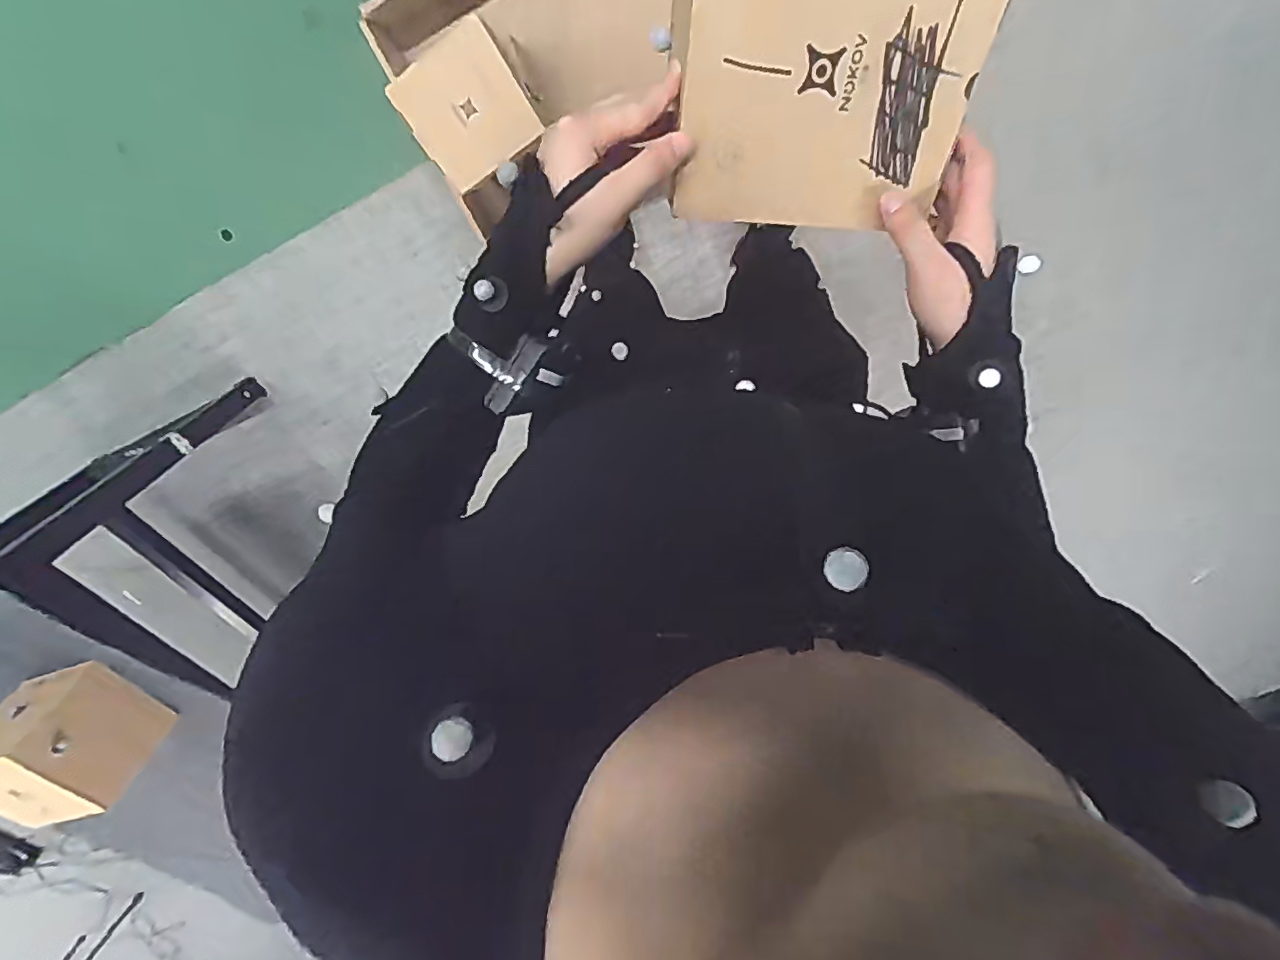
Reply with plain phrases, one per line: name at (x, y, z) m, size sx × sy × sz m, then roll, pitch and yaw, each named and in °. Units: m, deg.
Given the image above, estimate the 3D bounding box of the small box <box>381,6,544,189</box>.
small box at (-0.268, -0.599, 0.866) m, size 0.179 × 0.176 × 0.168 m, roll -30°, pitch 122°, yaw 12°

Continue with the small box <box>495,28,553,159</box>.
small box at (-0.276, -0.692, 1.001) m, size 0.179 × 0.176 × 0.168 m, roll -20°, pitch 124°, yaw 9°

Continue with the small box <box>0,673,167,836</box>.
small box at (-0.939, 0.431, 0.867) m, size 0.168 × 0.176 × 0.179 m, roll -17°, pitch 124°, yaw 9°

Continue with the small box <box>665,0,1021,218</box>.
small box at (0.116, -0.293, 0.367) m, size 0.179 × 0.176 × 0.168 m, roll 2°, pitch 131°, yaw -3°
